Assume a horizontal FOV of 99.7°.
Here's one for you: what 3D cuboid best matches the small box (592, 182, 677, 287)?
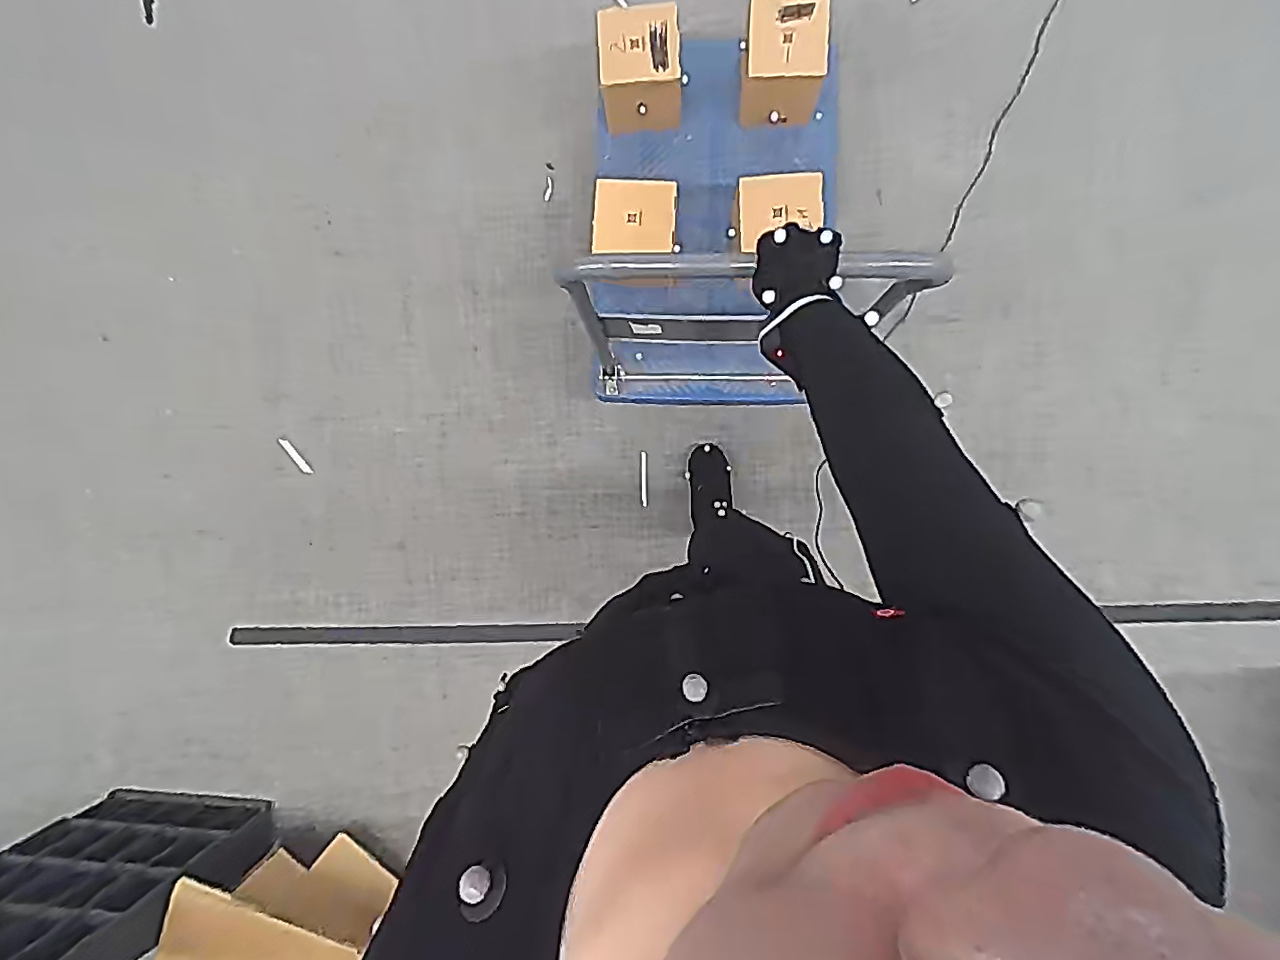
[{"bbox_3d":[-0.008,-0.554,1.238,0.179,0.176,0.168,3,89,2],"label":"small box"}]

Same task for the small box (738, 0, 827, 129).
[{"bbox_3d":[0.314,-0.931,1.218,0.168,0.176,0.179,1,91,4],"label":"small box"}]

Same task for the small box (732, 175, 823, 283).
[{"bbox_3d":[0.301,-0.555,1.216,0.179,0.176,0.168,-2,90,4],"label":"small box"}]
